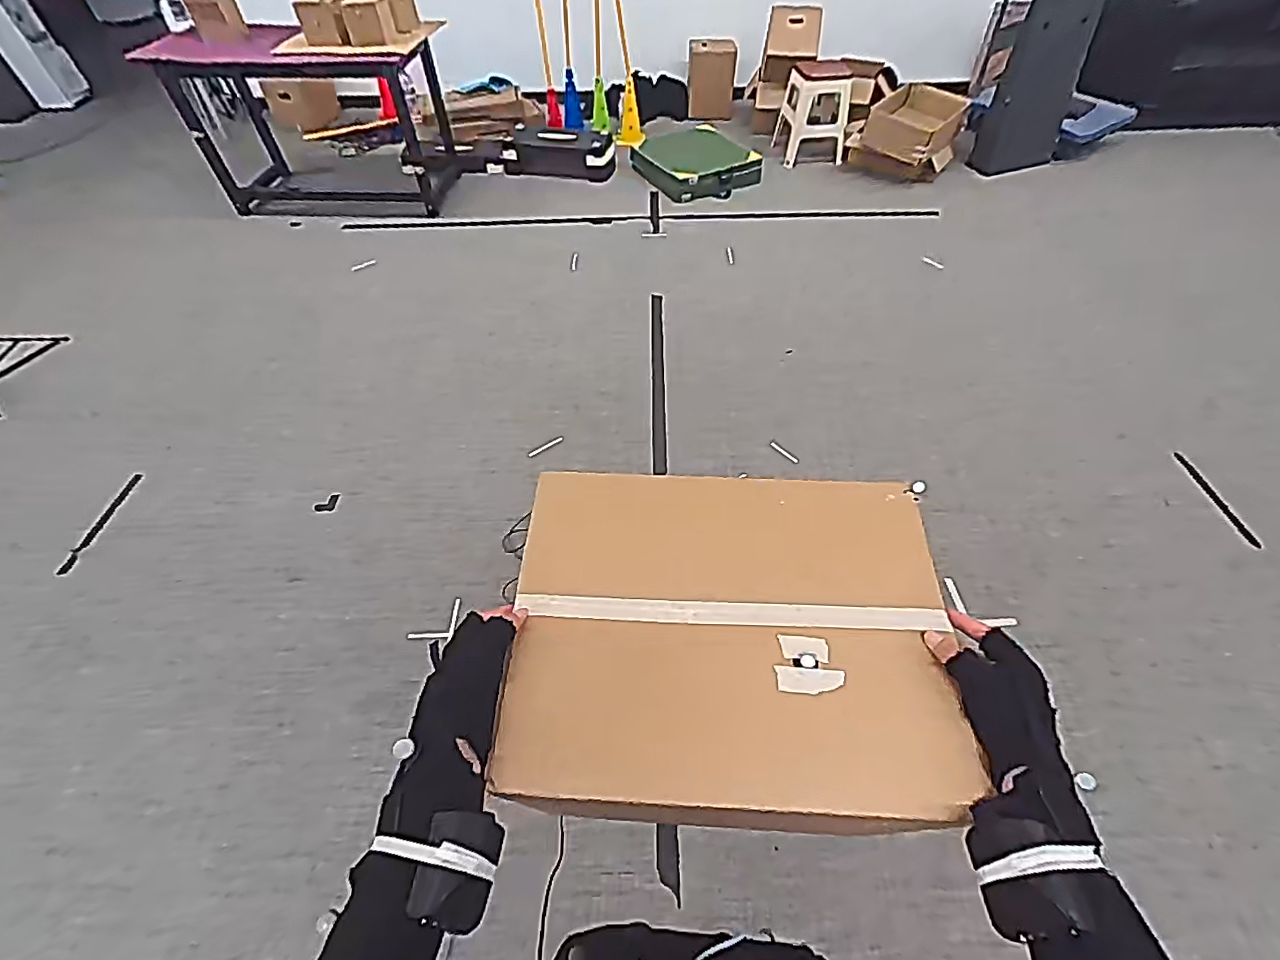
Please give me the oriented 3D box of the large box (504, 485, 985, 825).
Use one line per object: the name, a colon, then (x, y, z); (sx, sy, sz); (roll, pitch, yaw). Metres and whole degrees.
large box: (0.090, 0.219, 0.647); (0.408, 0.320, 0.320); (2, 57, 3)
